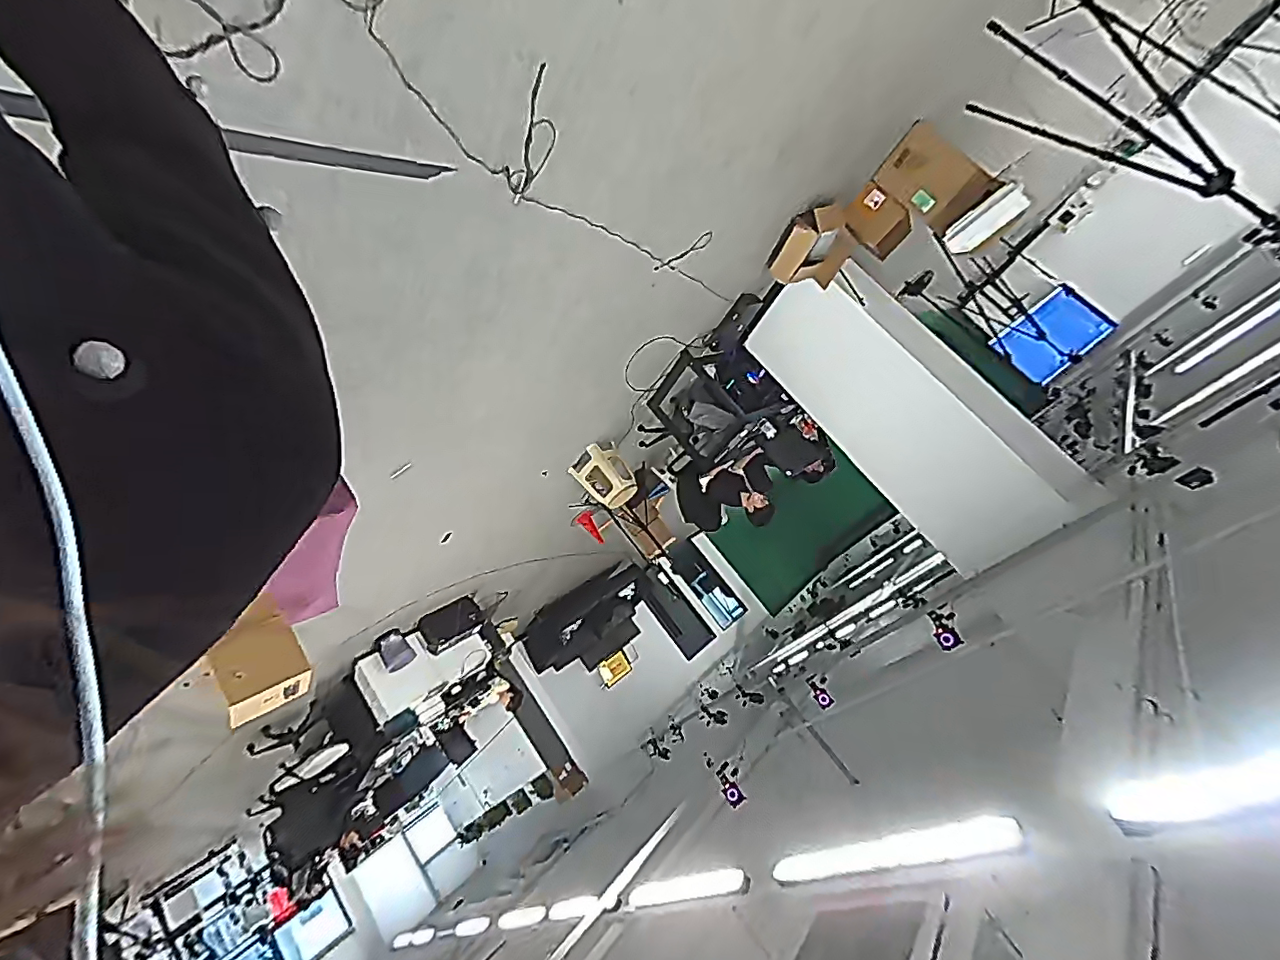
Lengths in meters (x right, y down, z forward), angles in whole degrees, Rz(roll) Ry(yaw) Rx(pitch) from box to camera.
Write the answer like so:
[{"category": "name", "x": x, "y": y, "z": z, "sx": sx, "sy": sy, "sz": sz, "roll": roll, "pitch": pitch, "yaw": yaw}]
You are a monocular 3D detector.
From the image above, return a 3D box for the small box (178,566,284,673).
[{"category": "small box", "x": -1.046, "y": 0.349, "z": 1.378, "sx": 0.179, "sy": 0.176, "sz": 0.168, "roll": -22, "pitch": 158, "yaw": -47}]
